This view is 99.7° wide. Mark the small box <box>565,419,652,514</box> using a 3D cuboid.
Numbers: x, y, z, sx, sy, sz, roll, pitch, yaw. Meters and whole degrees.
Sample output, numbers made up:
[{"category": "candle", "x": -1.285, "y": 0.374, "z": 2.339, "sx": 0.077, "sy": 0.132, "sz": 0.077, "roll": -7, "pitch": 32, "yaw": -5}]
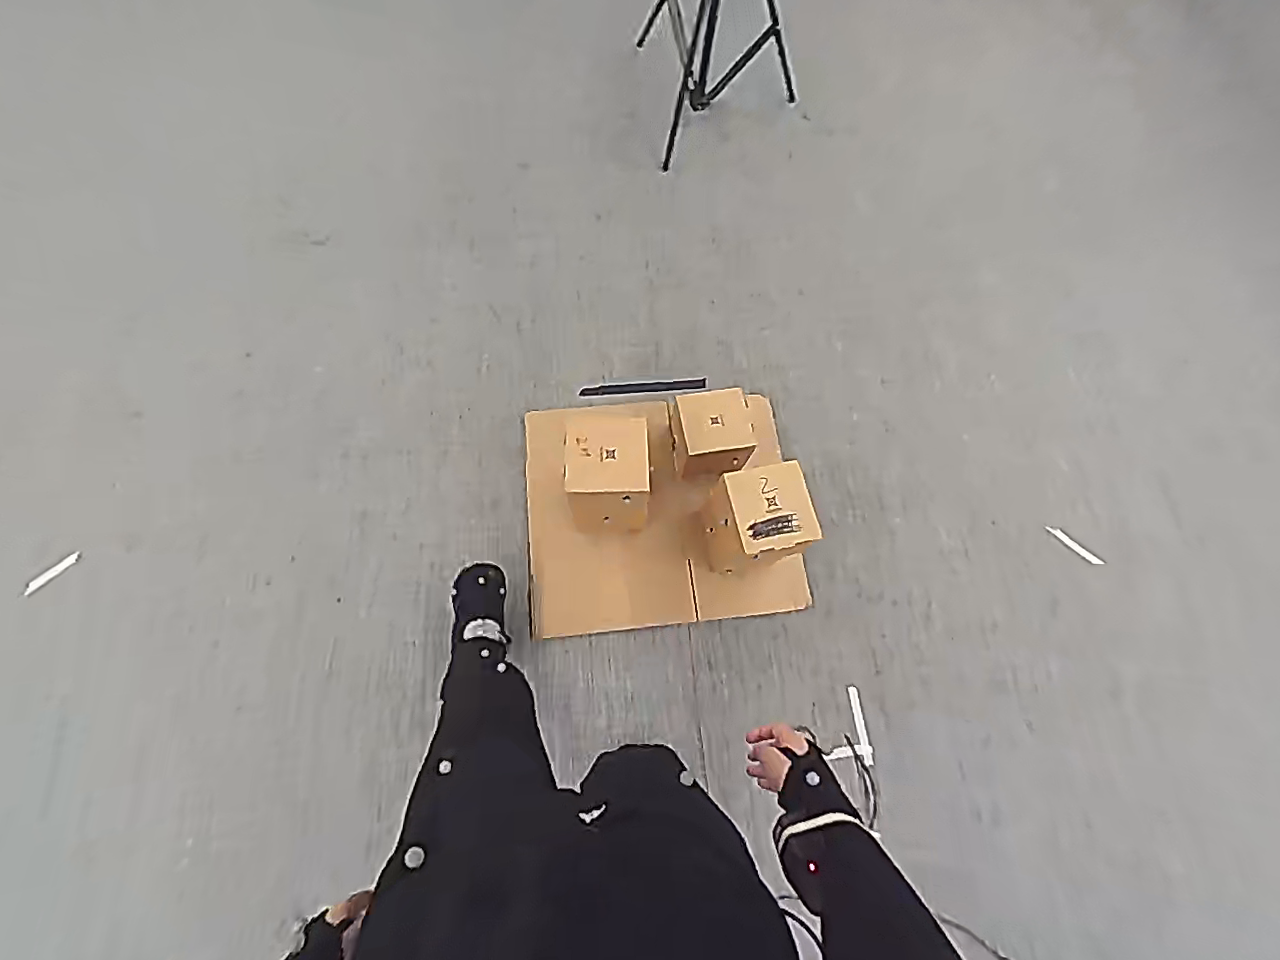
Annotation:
[{"category": "small box", "x": -0.069, "y": -0.026, "z": 1.188, "sx": 0.179, "sy": 0.176, "sz": 0.168, "roll": -1, "pitch": 71, "yaw": -2}]

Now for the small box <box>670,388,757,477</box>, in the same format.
[{"category": "small box", "x": 0.185, "y": -0.119, "z": 1.409, "sx": 0.179, "sy": 0.176, "sz": 0.168, "roll": -9, "pitch": 71, "yaw": -6}]

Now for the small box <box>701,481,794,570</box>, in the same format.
[{"category": "small box", "x": 0.256, "y": 0.120, "z": 1.331, "sx": 0.168, "sy": 0.176, "sz": 0.179, "roll": -9, "pitch": 72, "yaw": -6}]

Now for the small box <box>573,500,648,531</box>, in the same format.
[{"category": "small box", "x": -0.075, "y": 0.027, "z": 1.343, "sx": 0.179, "sy": 0.176, "sz": 0.168, "roll": -2, "pitch": 72, "yaw": -3}]
